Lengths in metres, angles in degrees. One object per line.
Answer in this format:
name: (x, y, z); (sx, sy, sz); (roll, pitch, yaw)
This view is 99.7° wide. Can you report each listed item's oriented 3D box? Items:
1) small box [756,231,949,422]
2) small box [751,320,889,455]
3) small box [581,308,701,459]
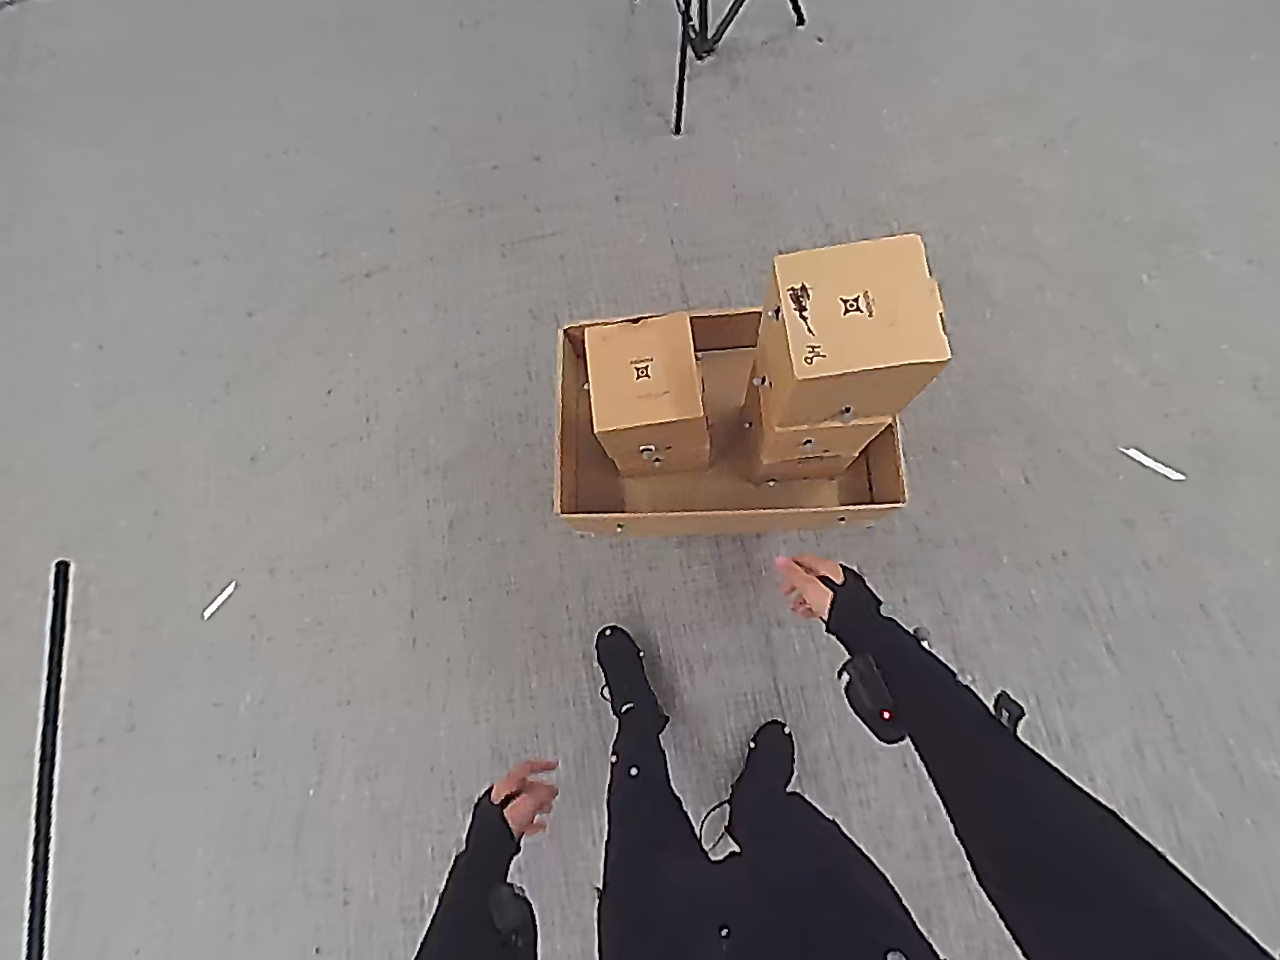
small box: (0.255, -0.185, 0.694); (0.179, 0.176, 0.168); (-7, 75, 4)
small box: (0.270, -0.144, 0.852); (0.168, 0.176, 0.179); (-5, 76, 5)
small box: (0.006, -0.149, 0.879); (0.168, 0.176, 0.179); (-9, 76, 6)
